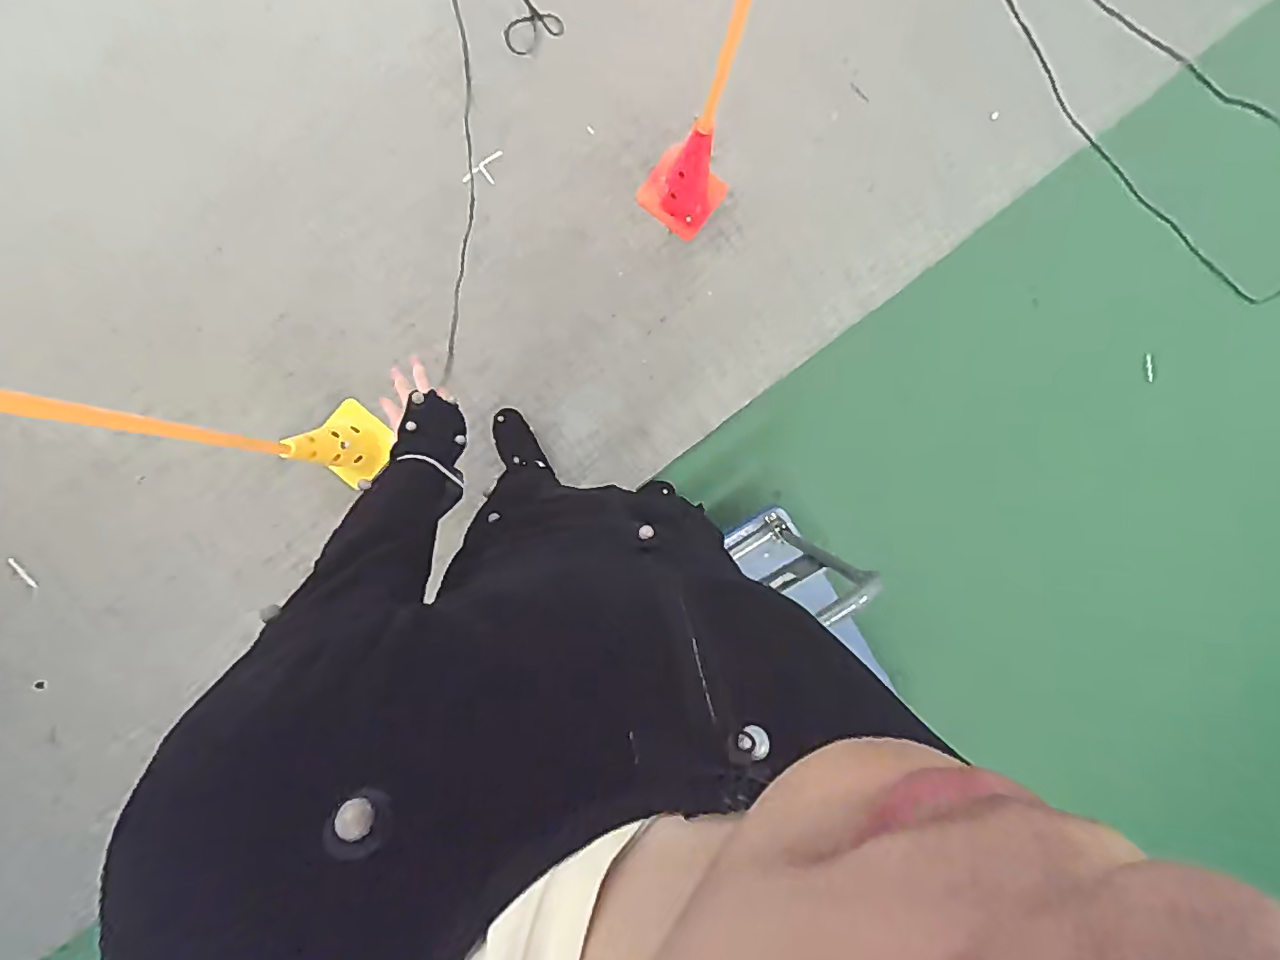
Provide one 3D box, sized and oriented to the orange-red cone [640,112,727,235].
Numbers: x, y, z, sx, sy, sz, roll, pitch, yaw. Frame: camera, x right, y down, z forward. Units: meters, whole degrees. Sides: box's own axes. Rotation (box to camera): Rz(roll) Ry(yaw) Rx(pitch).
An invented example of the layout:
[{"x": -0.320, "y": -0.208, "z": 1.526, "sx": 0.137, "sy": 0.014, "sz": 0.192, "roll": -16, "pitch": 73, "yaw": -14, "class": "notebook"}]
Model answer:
[{"x": 0.139, "y": -0.811, "z": 1.365, "sx": 0.198, "sy": 0.360, "sz": 0.199, "roll": 38, "pitch": 91, "yaw": -7, "class": "orange-red cone"}]
